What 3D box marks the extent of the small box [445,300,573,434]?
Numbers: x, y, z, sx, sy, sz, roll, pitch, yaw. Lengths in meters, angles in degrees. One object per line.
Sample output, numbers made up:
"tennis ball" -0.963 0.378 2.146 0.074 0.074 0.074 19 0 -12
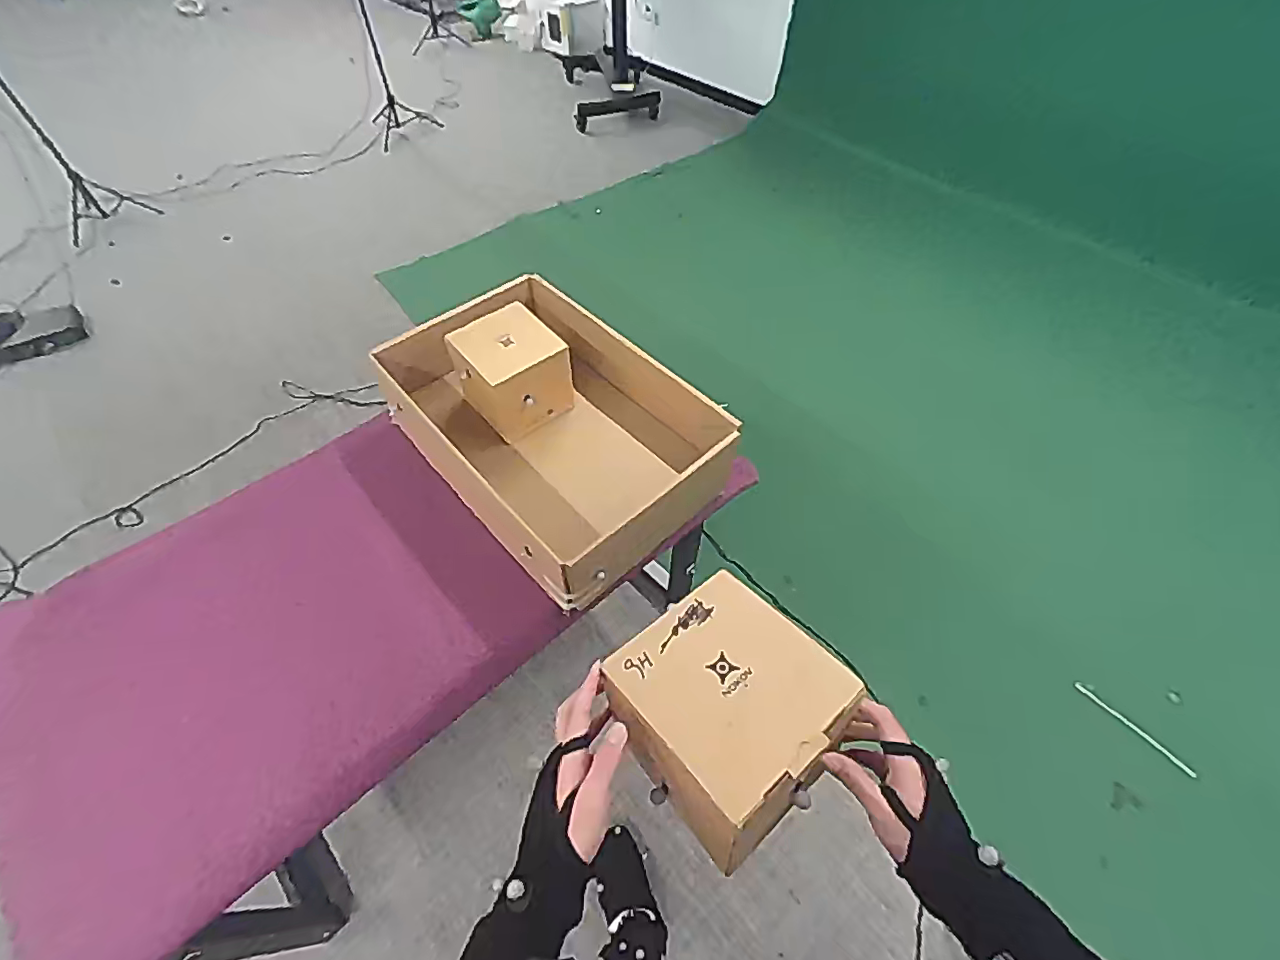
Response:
"small box" -0.249 -0.214 1.068 0.168 0.176 0.179 -35 62 -22
